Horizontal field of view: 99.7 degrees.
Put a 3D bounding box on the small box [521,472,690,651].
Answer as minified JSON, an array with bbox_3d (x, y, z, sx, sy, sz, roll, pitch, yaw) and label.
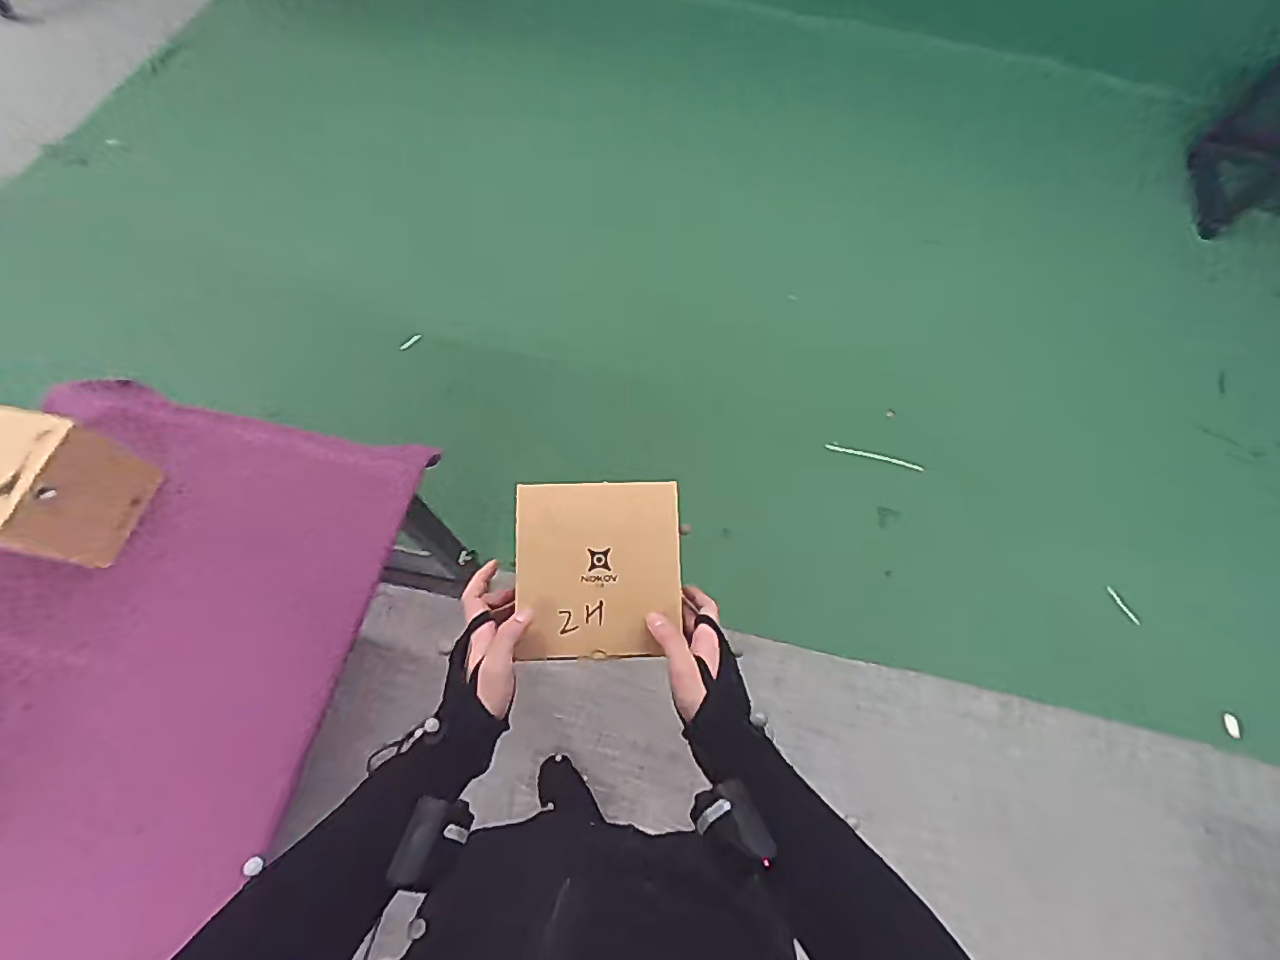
[{"bbox_3d":[-0.035,0.093,0.614,0.168,0.176,0.179,1,81,-1],"label":"small box"}]

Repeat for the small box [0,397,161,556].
[{"bbox_3d":[-0.857,-0.002,0.765,0.179,0.176,0.168,11,67,2],"label":"small box"}]
